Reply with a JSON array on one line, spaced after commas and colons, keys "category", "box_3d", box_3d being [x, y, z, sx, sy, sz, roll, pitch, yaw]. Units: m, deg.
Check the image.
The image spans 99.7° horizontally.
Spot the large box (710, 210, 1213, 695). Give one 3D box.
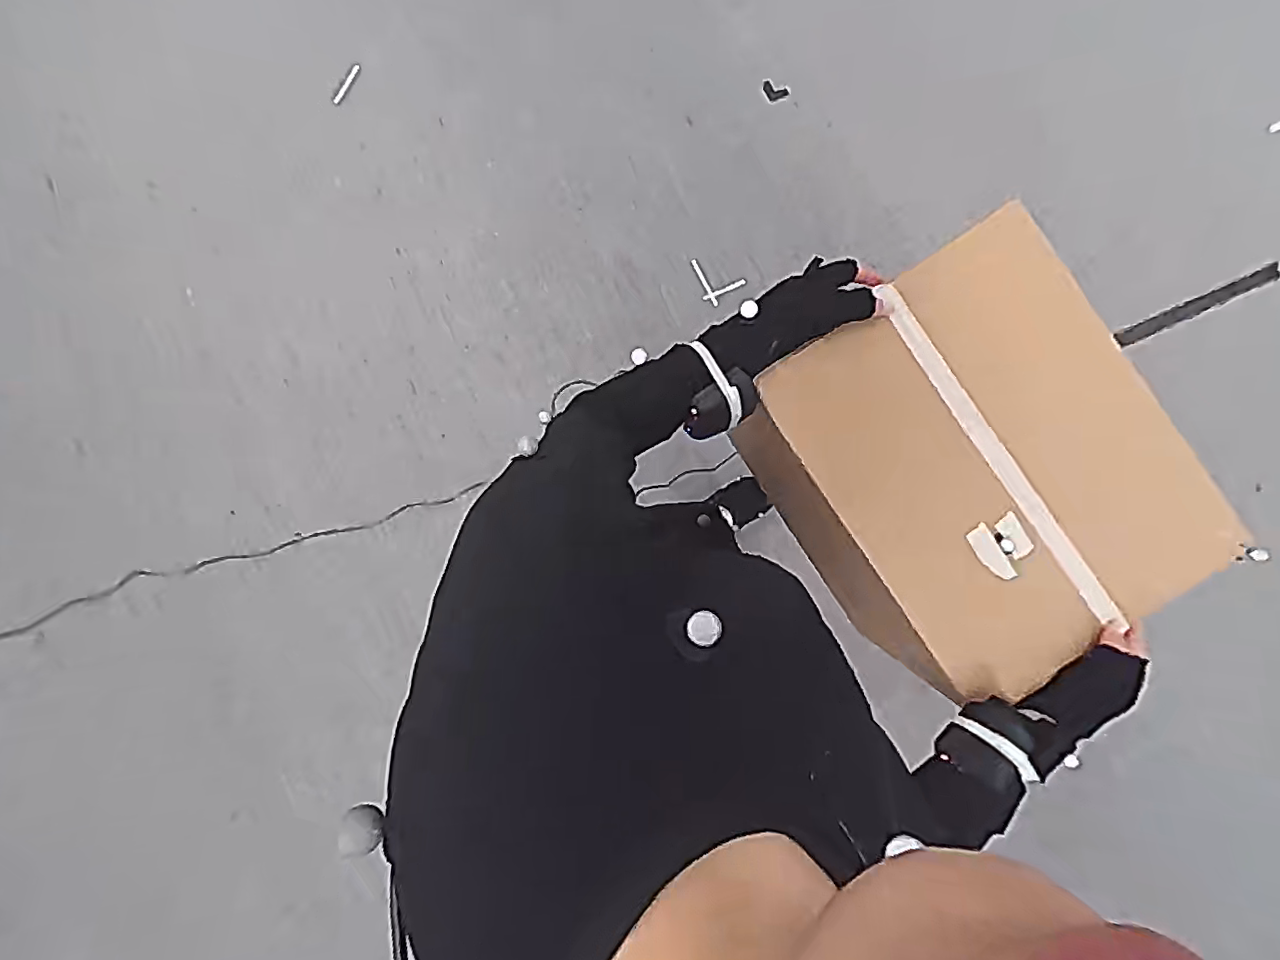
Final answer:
[{"category": "large box", "box_3d": [0.341, -0.030, 0.691, 0.320, 0.320, 0.408, -34, 91, 2]}]
